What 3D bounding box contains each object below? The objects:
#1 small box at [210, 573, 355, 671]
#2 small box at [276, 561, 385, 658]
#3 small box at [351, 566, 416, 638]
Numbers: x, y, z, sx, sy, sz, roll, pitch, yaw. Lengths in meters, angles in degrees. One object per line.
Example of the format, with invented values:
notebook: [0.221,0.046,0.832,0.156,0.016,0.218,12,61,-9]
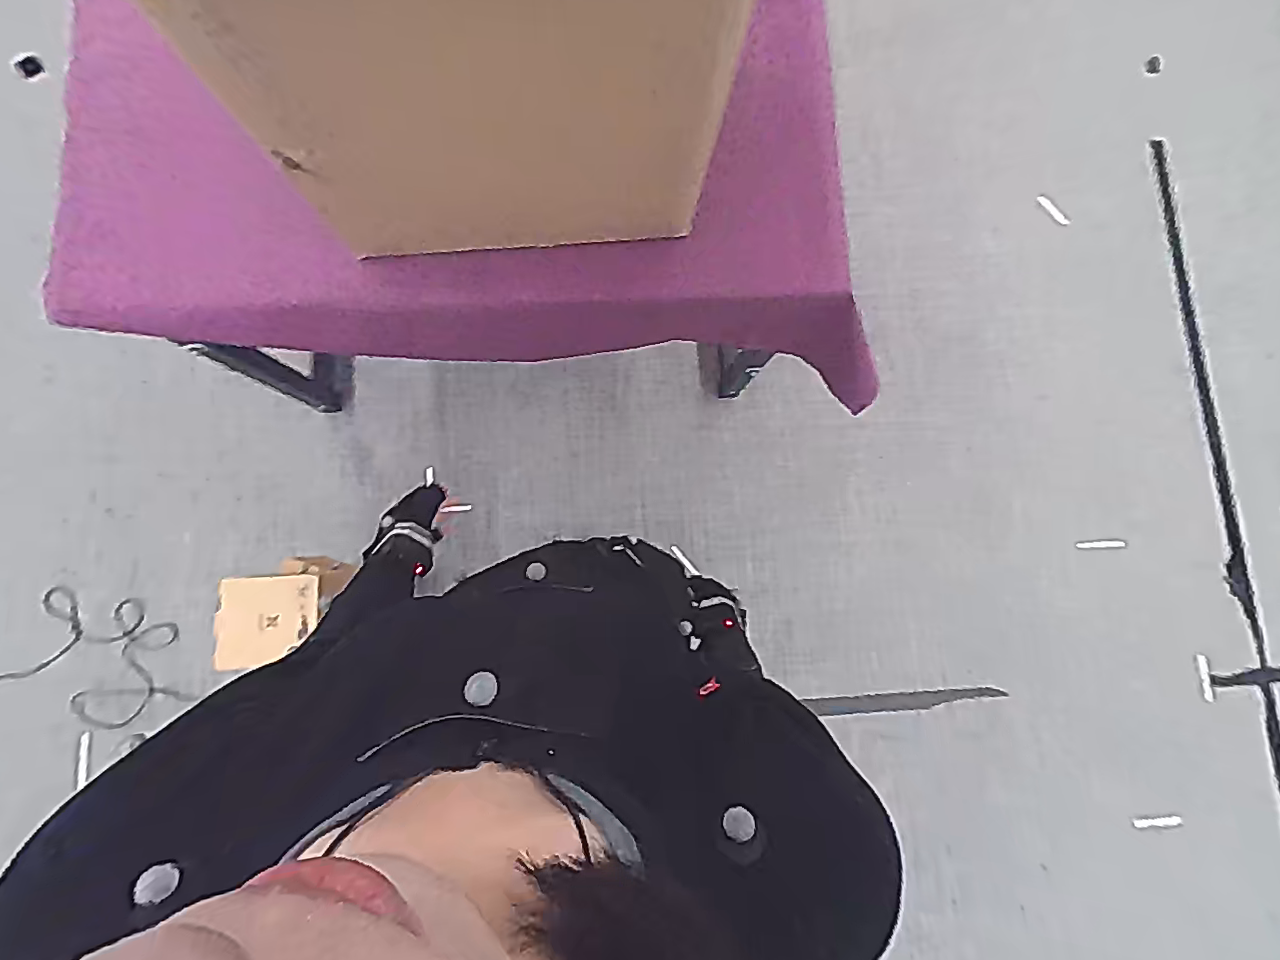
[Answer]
small box: [-0.687,0.270,1.056,0.179,0.176,0.168,-1,83,-5]
small box: [-0.709,0.282,1.218,0.179,0.176,0.168,18,81,-1]
small box: [-0.691,0.308,1.380,0.179,0.176,0.168,-1,83,-5]
